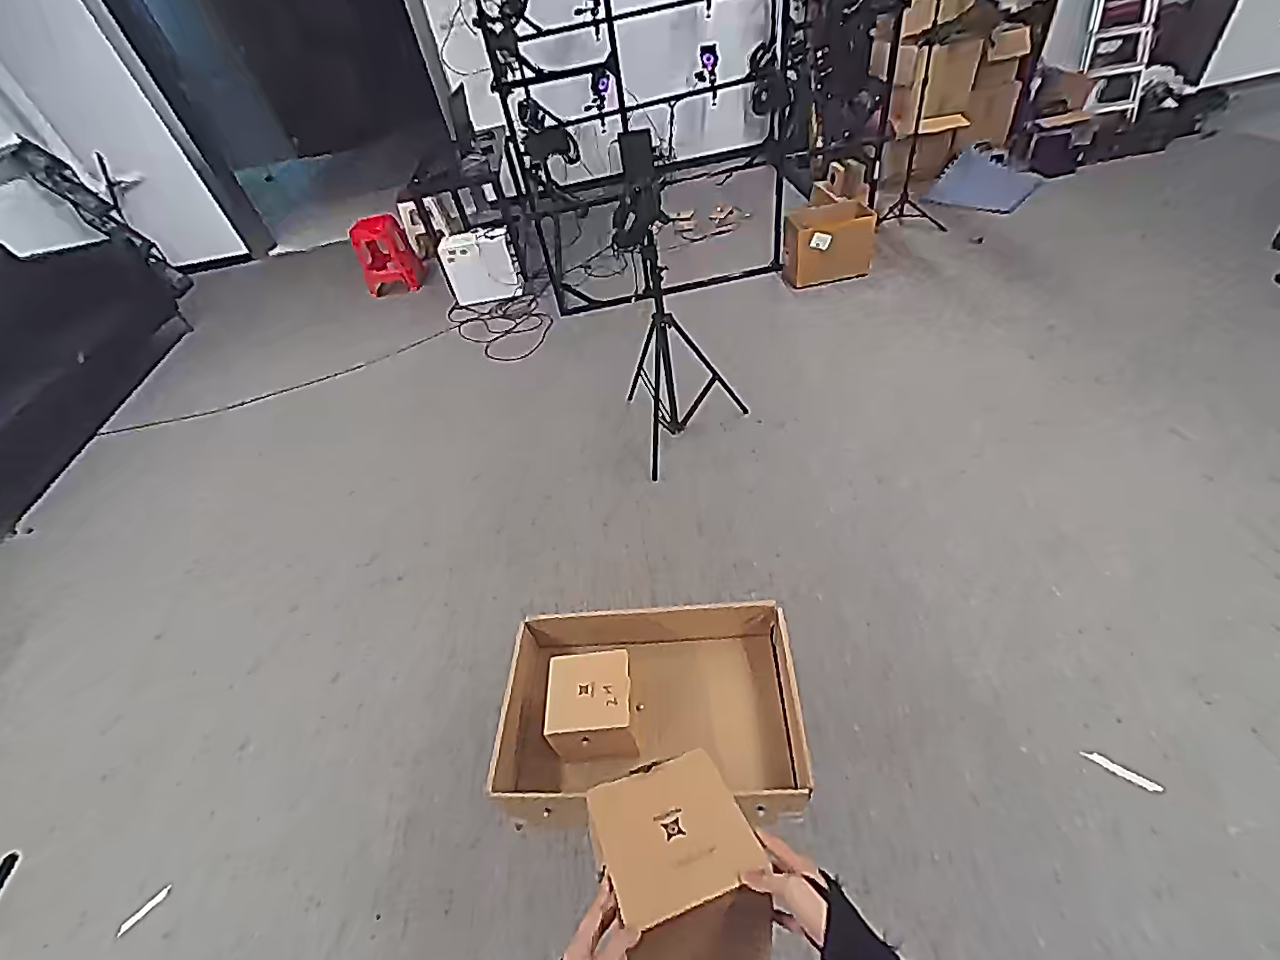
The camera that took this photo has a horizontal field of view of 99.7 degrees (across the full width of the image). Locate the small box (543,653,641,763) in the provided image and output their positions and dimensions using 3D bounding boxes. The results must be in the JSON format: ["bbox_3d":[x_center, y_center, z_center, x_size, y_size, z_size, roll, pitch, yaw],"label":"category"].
[{"bbox_3d":[-0.097,0.497,1.171,0.179,0.176,0.168,-7,45,4],"label":"small box"}]

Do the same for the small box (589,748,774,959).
[{"bbox_3d":[0.044,0.472,0.649,0.168,0.176,0.179,-12,22,-16],"label":"small box"}]
